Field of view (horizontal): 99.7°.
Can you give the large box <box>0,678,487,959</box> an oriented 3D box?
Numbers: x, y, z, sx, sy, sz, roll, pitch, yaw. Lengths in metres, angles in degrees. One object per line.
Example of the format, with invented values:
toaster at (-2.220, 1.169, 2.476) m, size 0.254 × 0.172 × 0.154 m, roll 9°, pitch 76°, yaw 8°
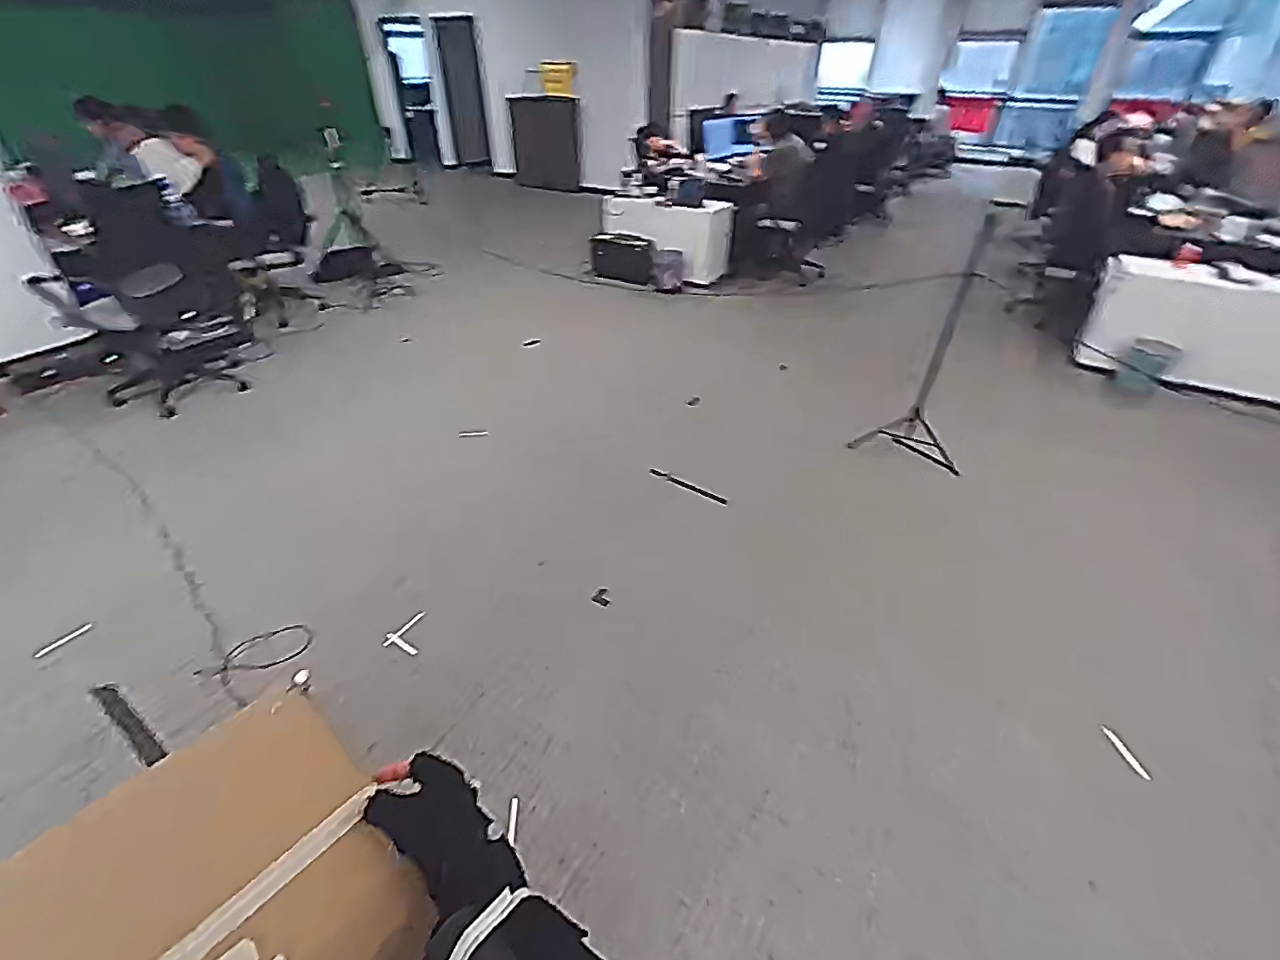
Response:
large box at (-0.393, 0.483, 0.486) m, size 0.320 × 0.320 × 0.408 m, roll 37°, pitch 46°, yaw 22°
